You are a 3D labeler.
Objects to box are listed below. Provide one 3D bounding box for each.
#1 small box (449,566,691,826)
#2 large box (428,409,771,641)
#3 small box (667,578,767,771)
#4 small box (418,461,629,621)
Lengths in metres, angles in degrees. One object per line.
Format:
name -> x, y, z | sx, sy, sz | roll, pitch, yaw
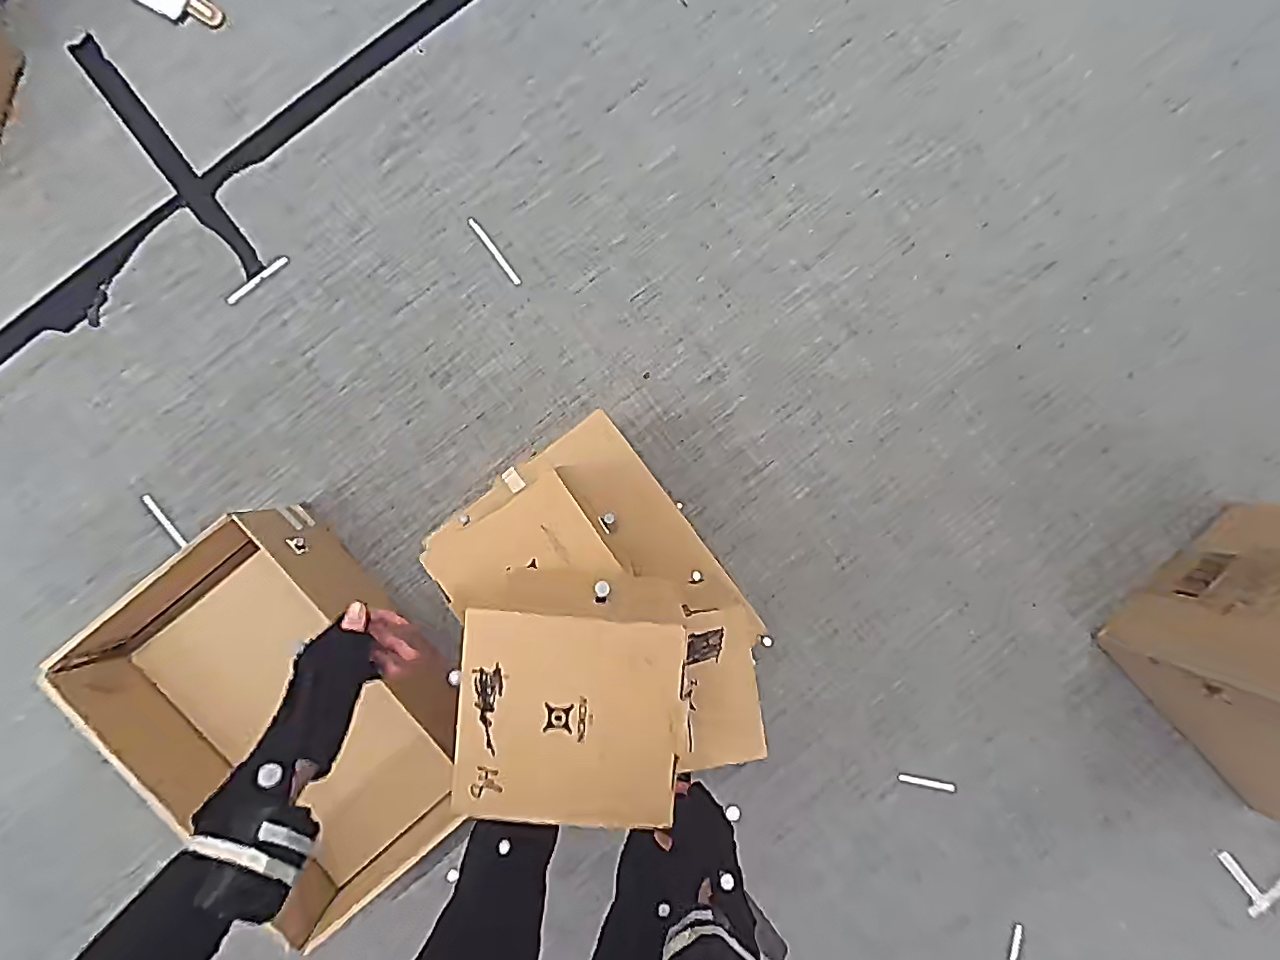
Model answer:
small box -> -0.057, 0.179, 0.496 | 0.179, 0.176, 0.168 | 5, 91, -2
large box -> -0.062, 0.139, 0.903 | 0.320, 0.320, 0.408 | -38, 94, 0
small box -> 0.044, 0.226, 0.665 | 0.168, 0.176, 0.179 | -9, 93, -2
small box -> -0.125, 0.091, 0.656 | 0.179, 0.176, 0.168 | -35, 95, -2
